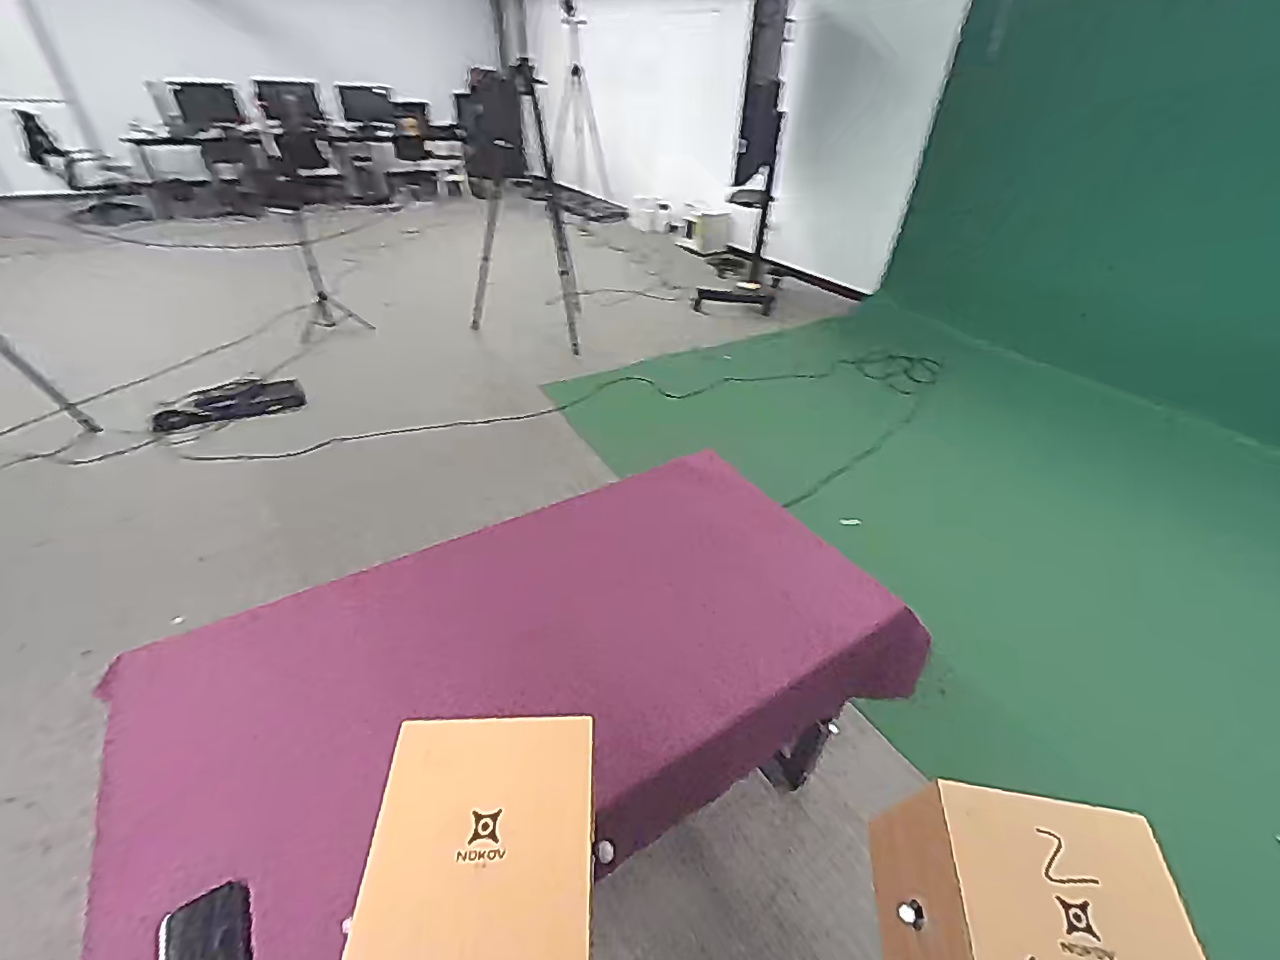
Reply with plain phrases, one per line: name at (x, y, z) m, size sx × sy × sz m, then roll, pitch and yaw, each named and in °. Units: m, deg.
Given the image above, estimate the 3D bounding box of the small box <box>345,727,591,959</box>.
small box at (-0.128, 0.338, 0.472) m, size 0.168 × 0.176 × 0.179 m, roll 0°, pitch 45°, yaw -6°
